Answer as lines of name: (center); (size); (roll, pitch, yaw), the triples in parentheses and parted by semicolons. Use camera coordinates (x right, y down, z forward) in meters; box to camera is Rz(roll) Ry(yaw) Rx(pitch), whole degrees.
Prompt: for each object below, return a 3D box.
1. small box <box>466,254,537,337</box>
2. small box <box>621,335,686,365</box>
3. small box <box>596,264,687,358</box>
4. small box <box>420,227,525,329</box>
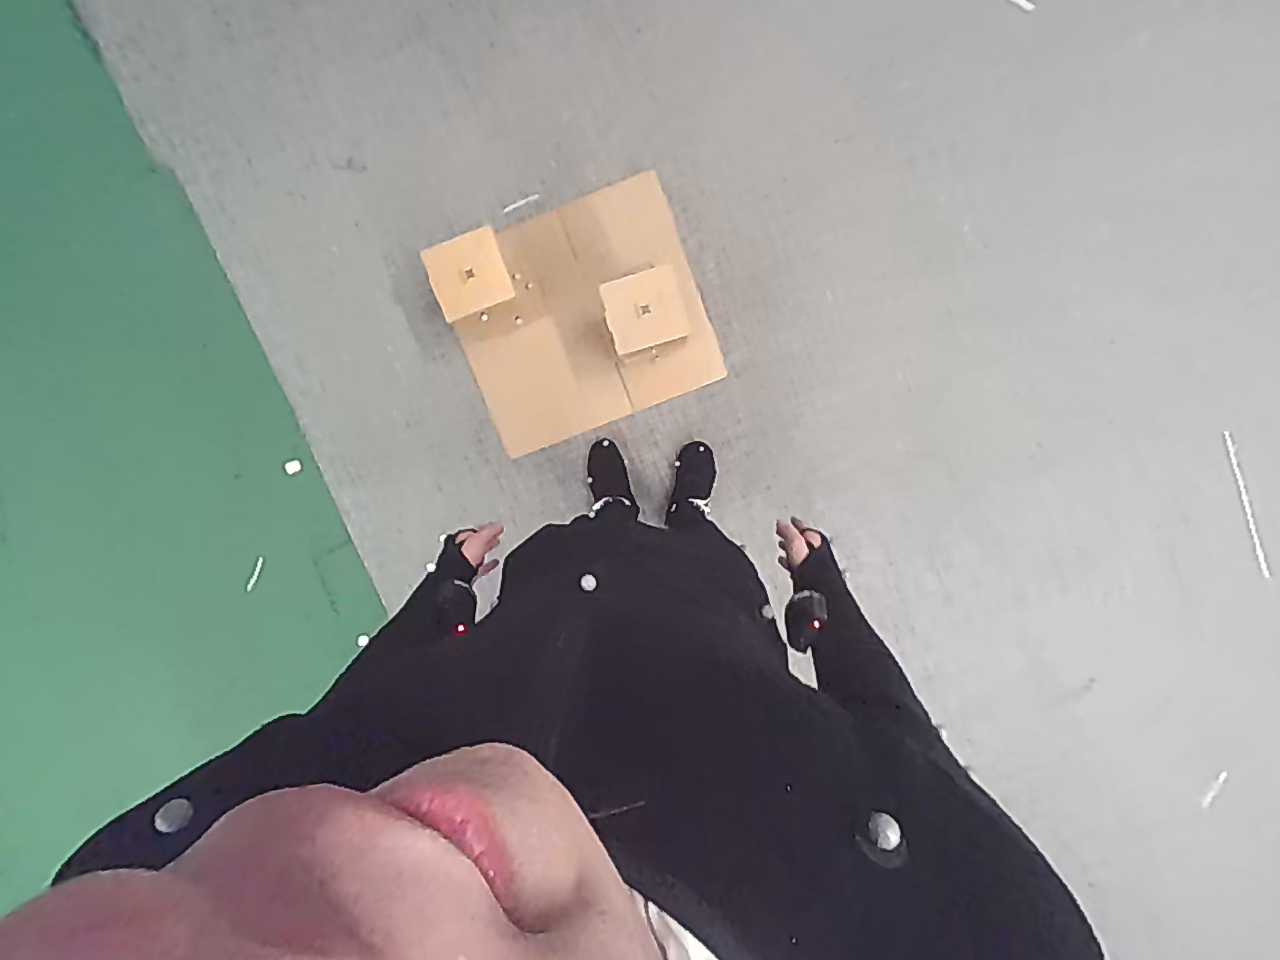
small box: (-0.391, -0.499, 1.461); (0.179, 0.176, 0.168); (-19, 97, 5)
small box: (0.015, -0.419, 1.466); (0.179, 0.176, 0.168); (-18, 97, 4)
small box: (0.008, -0.398, 1.304); (0.179, 0.176, 0.168); (-15, 98, 4)
small box: (-0.390, -0.477, 1.301); (0.179, 0.176, 0.168); (-19, 98, 5)
